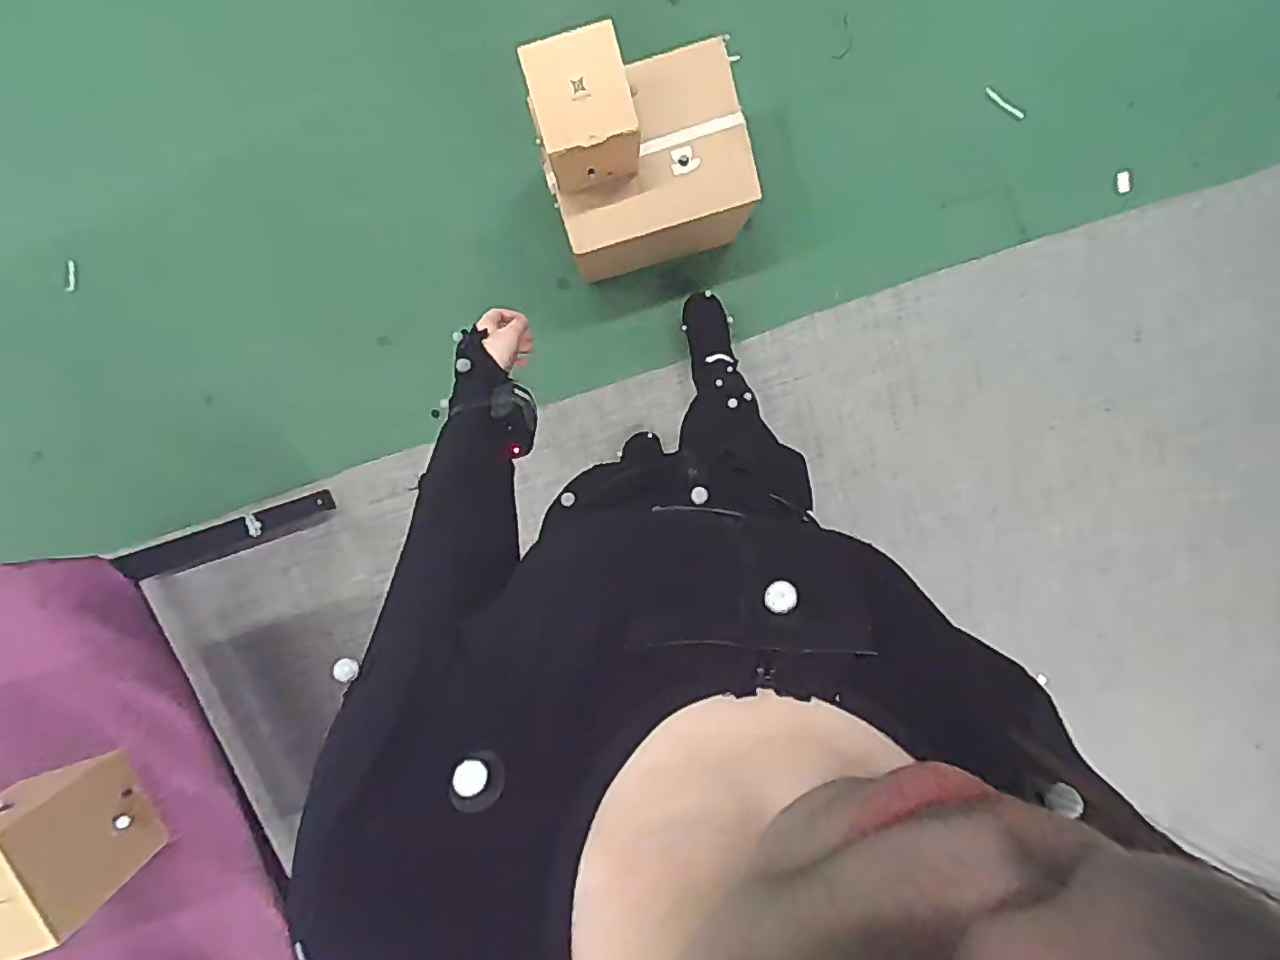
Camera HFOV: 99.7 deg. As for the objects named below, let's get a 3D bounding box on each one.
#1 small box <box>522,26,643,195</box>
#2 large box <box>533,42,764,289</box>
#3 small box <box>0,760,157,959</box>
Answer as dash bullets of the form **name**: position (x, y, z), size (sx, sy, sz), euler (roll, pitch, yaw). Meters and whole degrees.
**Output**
- **small box**: position (-0.098, -0.653, 0.978), size (0.168, 0.176, 0.179), euler (-16, 98, 1)
- **large box**: position (0.016, -0.671, 1.223), size (0.408, 0.320, 0.320), euler (-17, 99, 1)
- **small box**: position (-0.824, 0.517, 0.725), size (0.179, 0.176, 0.168), euler (-18, 99, 2)
